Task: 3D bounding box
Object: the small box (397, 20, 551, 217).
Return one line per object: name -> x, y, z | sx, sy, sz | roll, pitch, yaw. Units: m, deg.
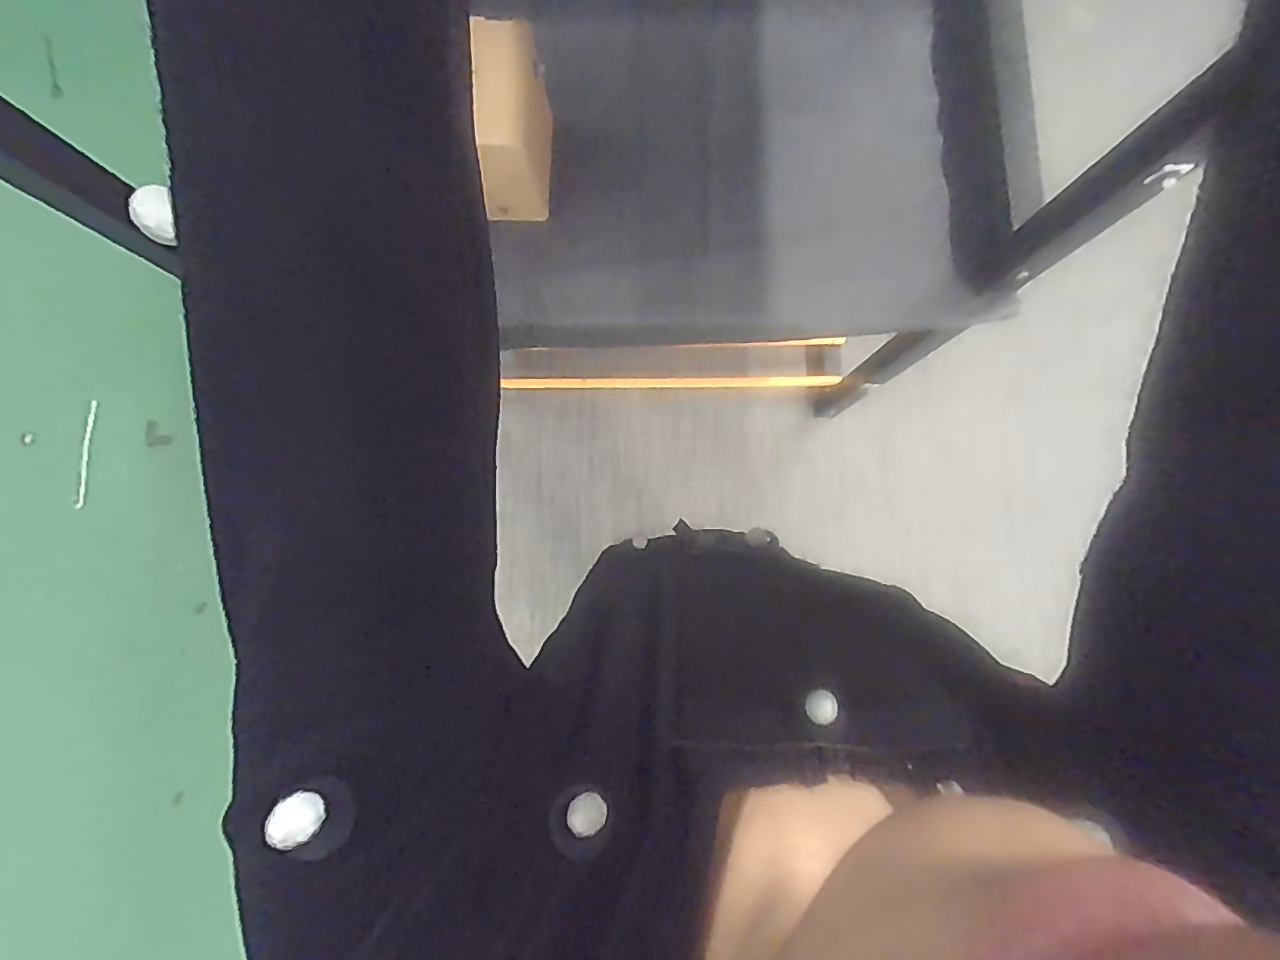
small box -> -0.223, -0.500, 0.769 | 0.168, 0.176, 0.179 | 1, 83, 1
